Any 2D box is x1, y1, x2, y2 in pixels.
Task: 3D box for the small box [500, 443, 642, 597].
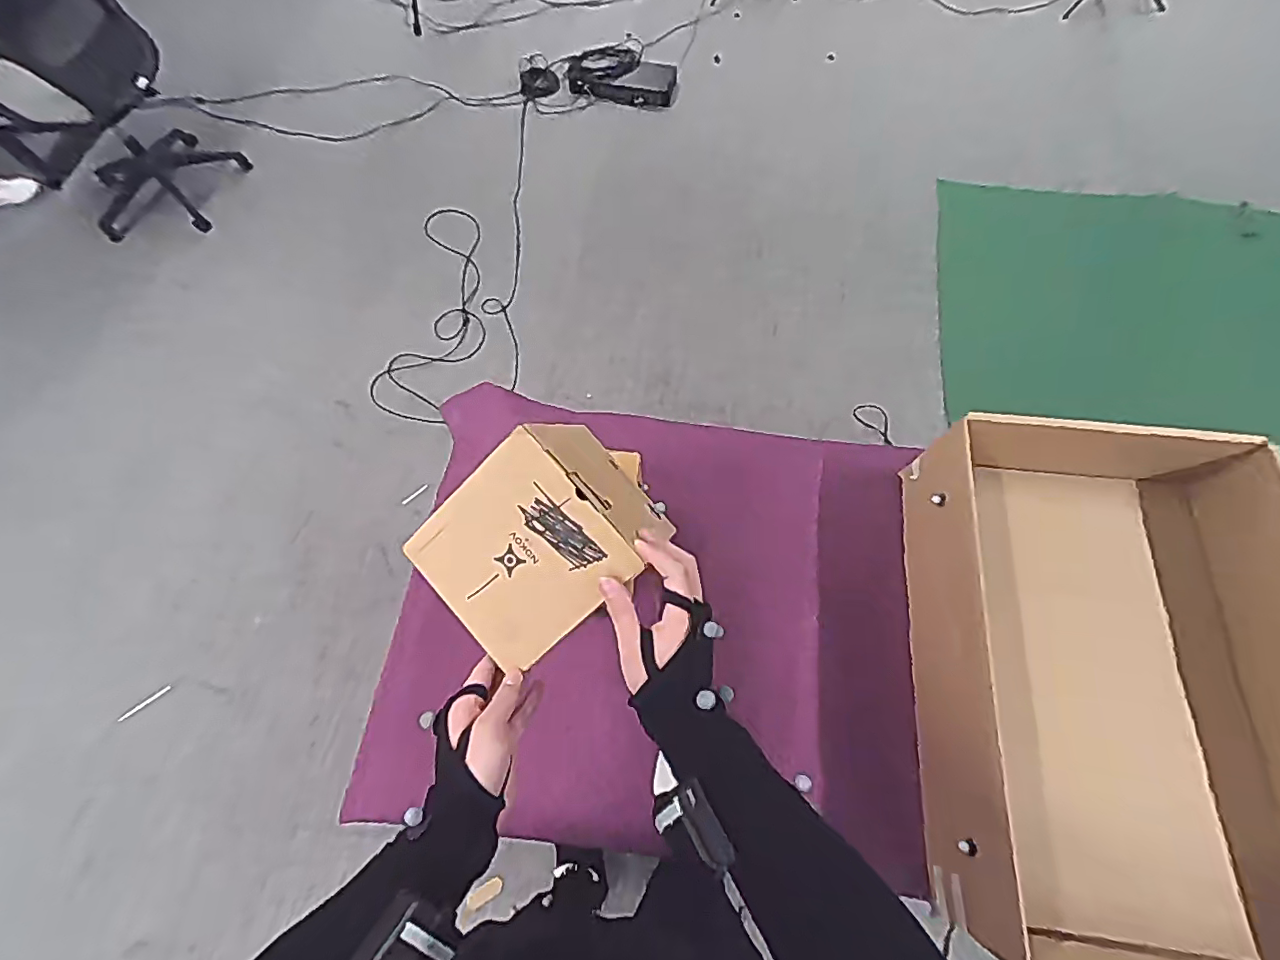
[{"bbox_3d":[-0.088,0.065,0.795,0.168,0.176,0.179,5,65,4],"label":"small box"}]
